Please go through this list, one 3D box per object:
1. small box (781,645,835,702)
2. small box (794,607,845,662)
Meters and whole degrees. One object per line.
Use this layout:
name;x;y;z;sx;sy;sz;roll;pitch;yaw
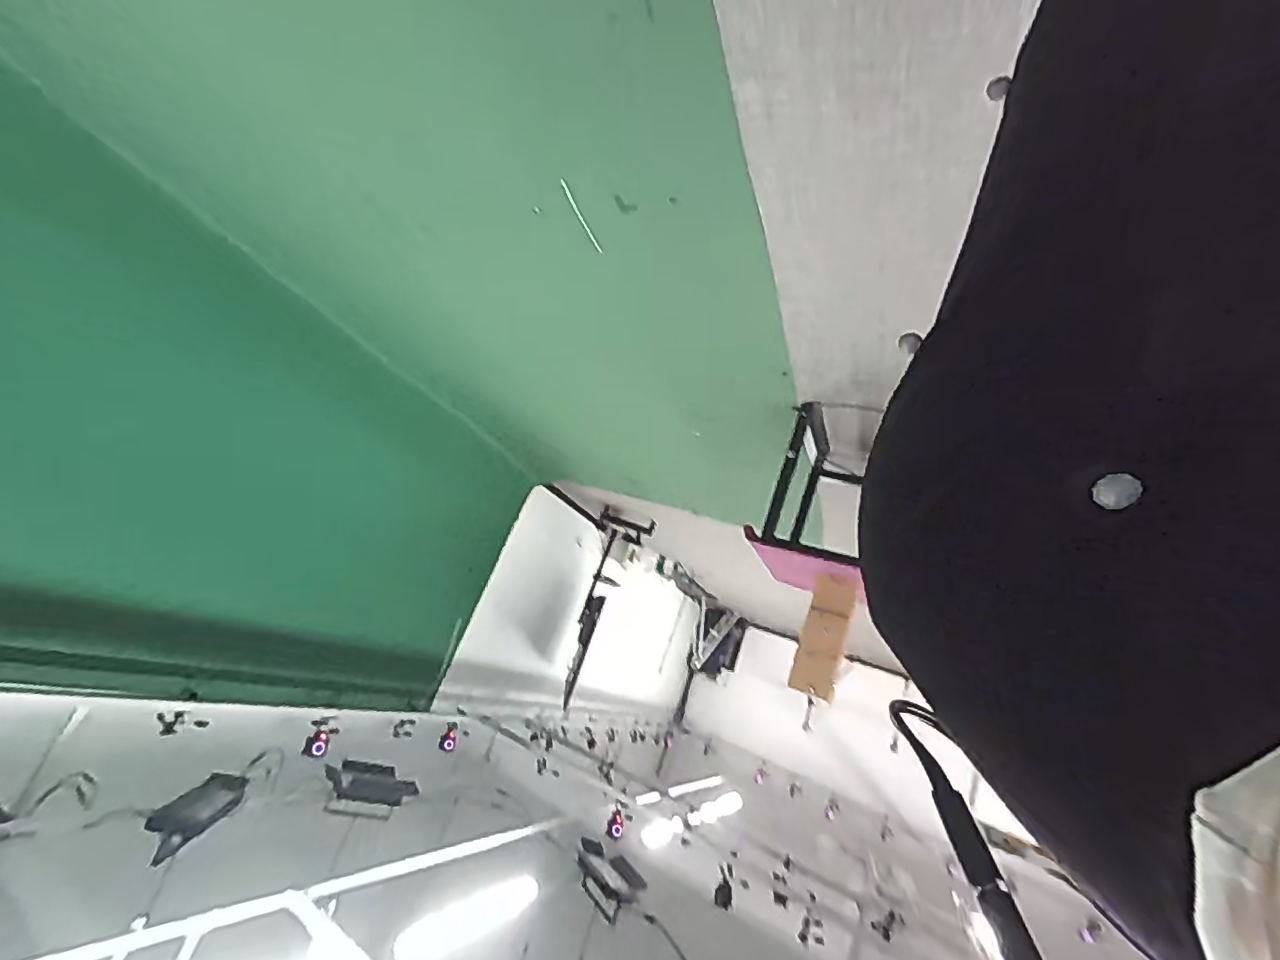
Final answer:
small box;0.689;0.785;2.199;0.168;0.176;0.179;11;162;29
small box;0.748;0.639;2.242;0.168;0.176;0.179;13;162;28
